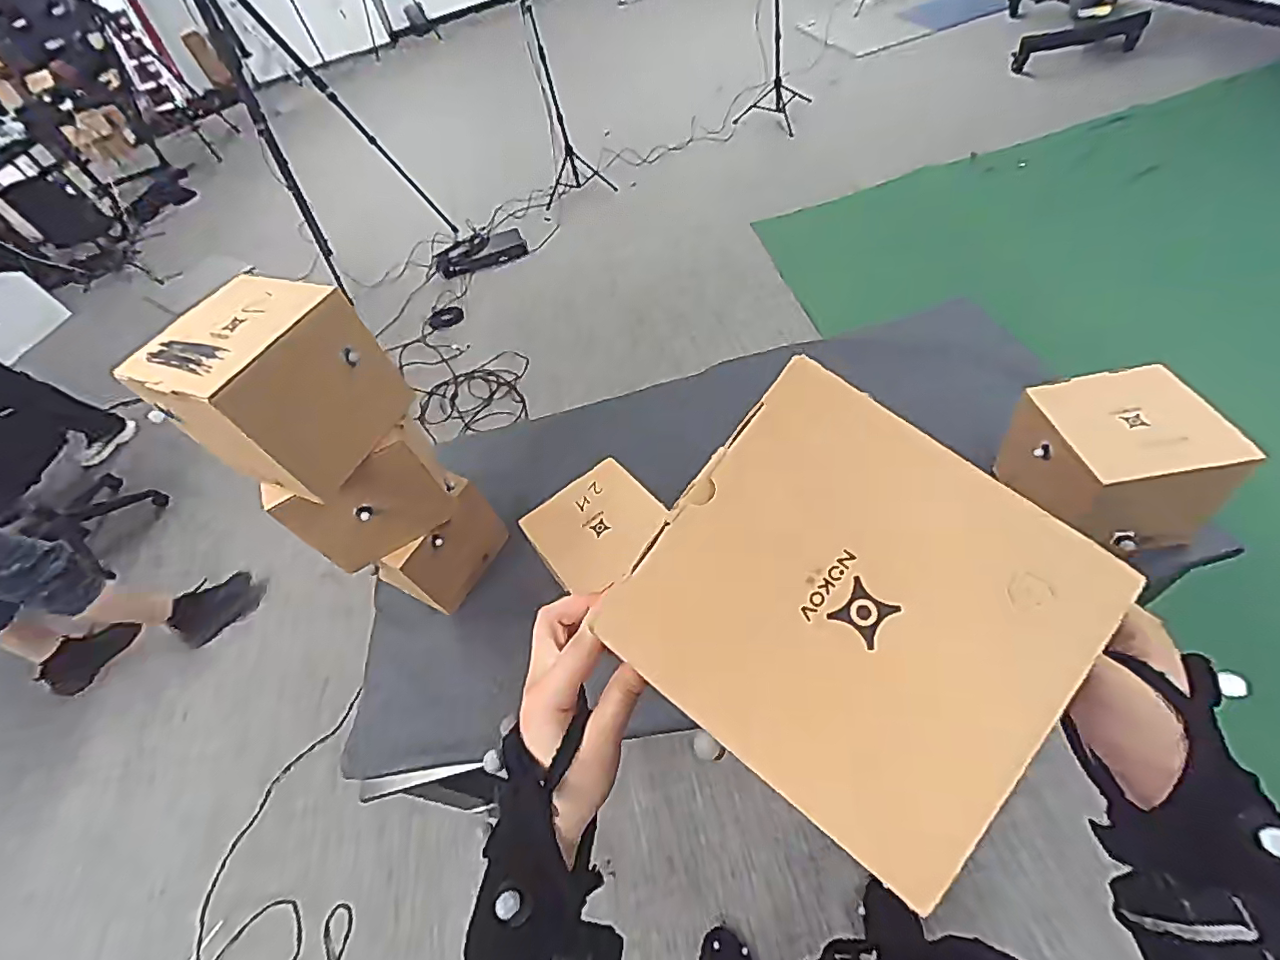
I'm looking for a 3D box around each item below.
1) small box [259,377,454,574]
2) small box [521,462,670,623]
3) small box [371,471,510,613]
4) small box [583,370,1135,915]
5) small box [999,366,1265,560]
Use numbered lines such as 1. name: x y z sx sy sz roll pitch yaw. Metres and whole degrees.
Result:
1. small box: -0.382 -0.003 0.753 0.179 0.176 0.168 -31 53 -9
2. small box: -0.038 0.113 0.783 0.168 0.176 0.179 -36 52 -14
3. small box: -0.350 0.092 0.884 0.179 0.176 0.168 18 60 25
4. small box: 0.099 0.074 0.312 0.179 0.176 0.168 37 84 13
5. small box: 0.608 -0.017 0.705 0.168 0.176 0.179 -11 48 9
